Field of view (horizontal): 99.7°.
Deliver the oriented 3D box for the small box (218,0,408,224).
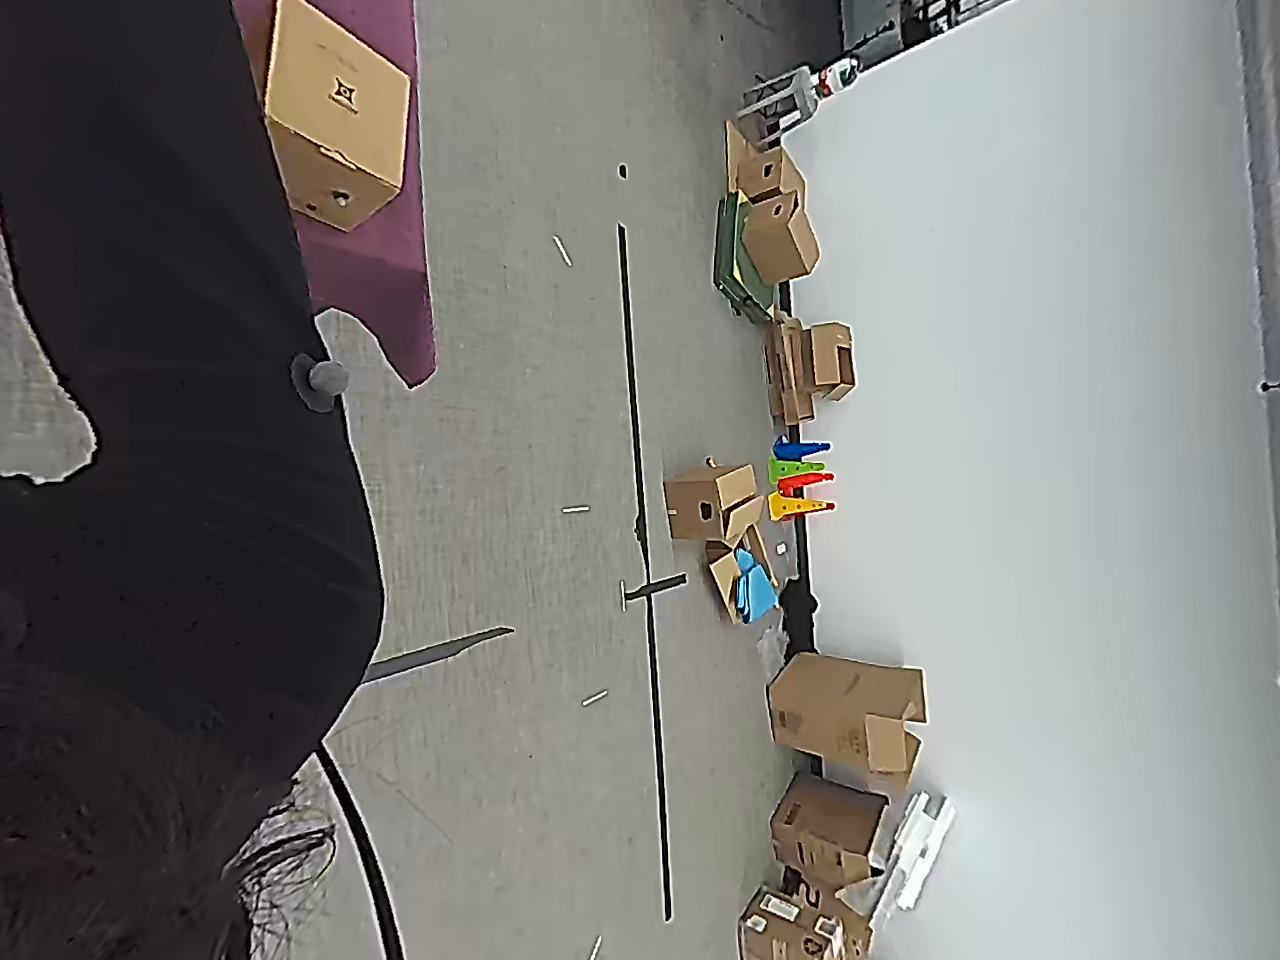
[{"bbox_3d":[-0.441,-0.484,0.731,0.168,0.176,0.179,10,77,-53],"label":"small box"}]
